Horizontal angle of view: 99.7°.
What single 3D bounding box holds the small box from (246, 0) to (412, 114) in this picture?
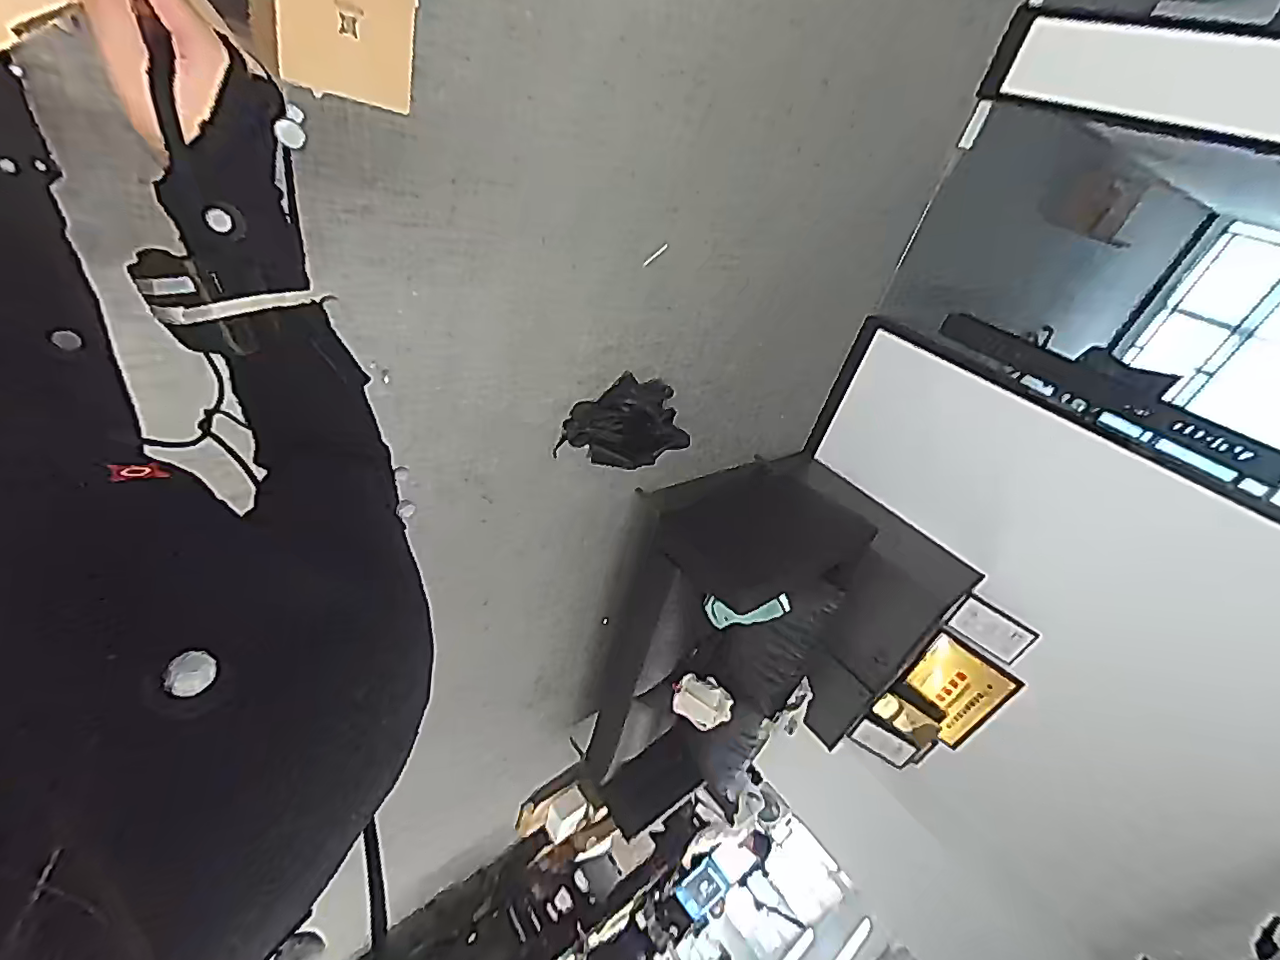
[{"bbox_3d":[-0.428,-0.641,0.743,0.168,0.176,0.179,-12,133,-40],"label":"small box"}]
